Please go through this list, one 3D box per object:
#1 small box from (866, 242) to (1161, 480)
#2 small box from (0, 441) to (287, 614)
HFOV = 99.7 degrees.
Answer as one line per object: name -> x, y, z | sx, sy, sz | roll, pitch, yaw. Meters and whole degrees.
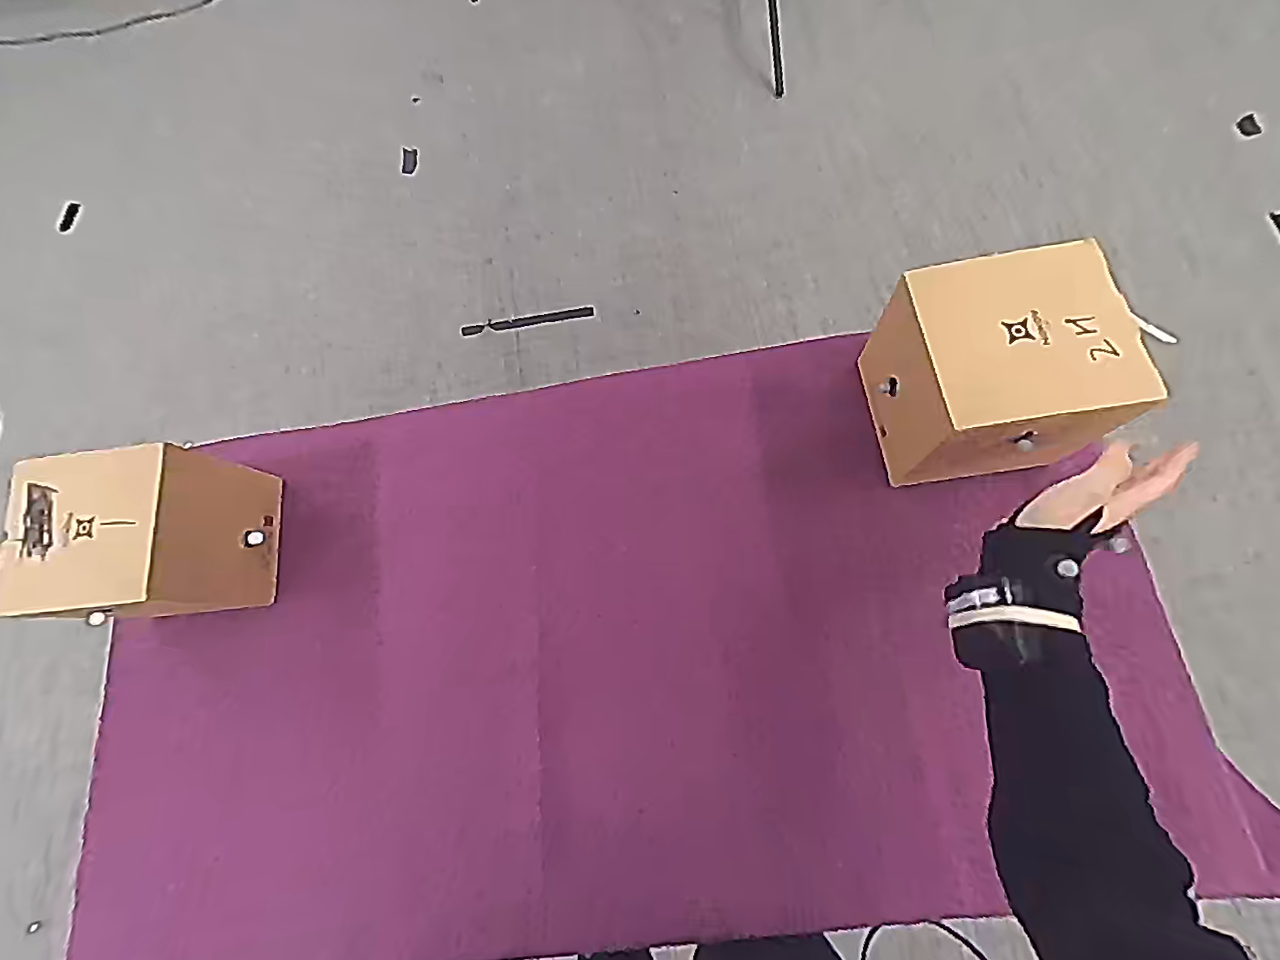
small box -> 0.349, -0.107, 0.554 | 0.179, 0.176, 0.168 | -8, 73, 4
small box -> -0.555, 0.065, 0.626 | 0.179, 0.176, 0.168 | -6, 76, 4
